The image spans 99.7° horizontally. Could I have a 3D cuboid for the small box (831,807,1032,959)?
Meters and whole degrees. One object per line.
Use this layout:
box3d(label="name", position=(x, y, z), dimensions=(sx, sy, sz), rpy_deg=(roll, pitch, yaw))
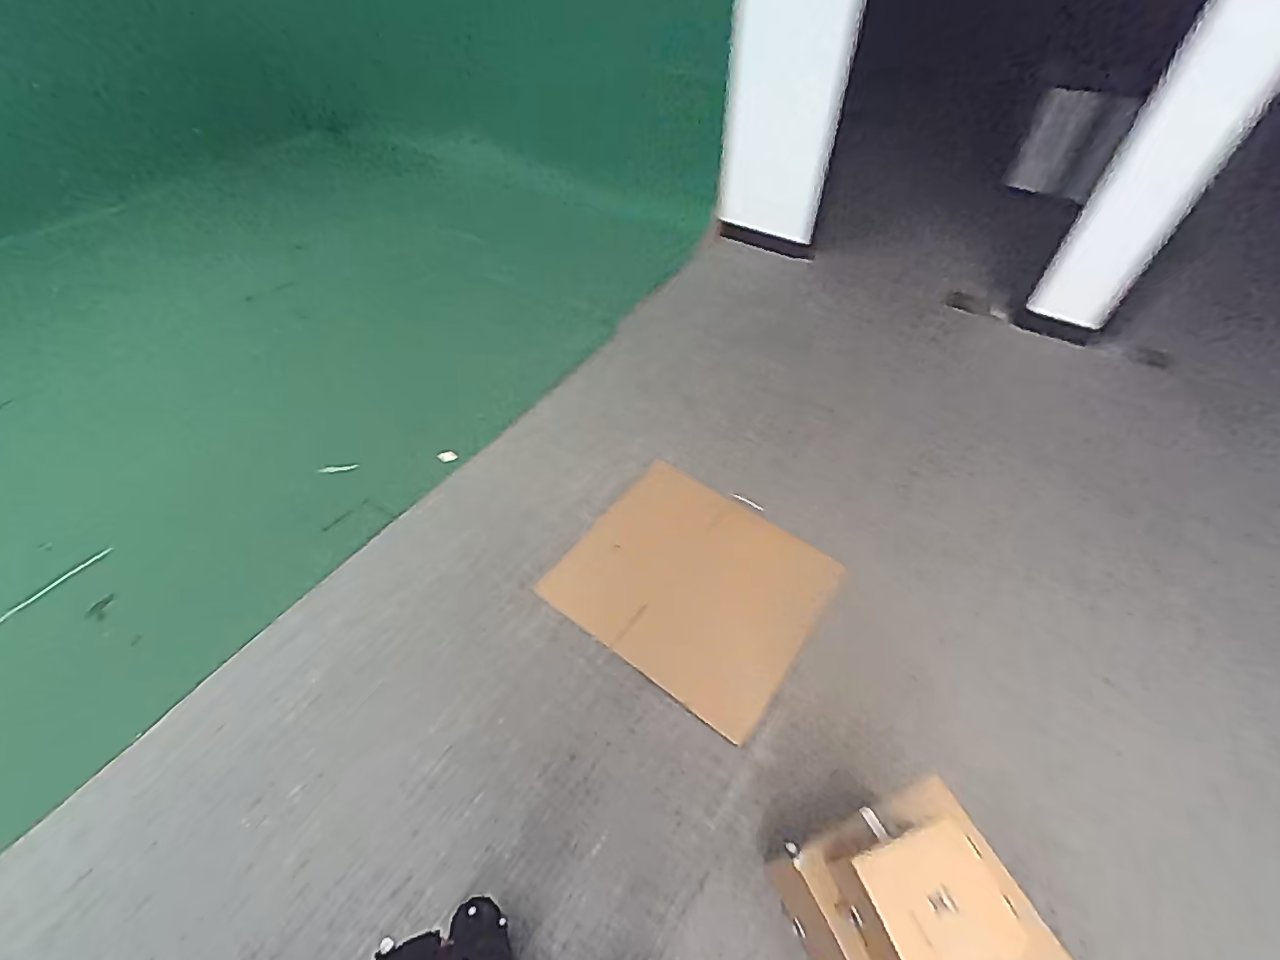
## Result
box3d(label="small box", position=(0.415, 0.617, 0.807), dimensions=(0.179, 0.176, 0.168), rpy_deg=(-19, 53, -9))
